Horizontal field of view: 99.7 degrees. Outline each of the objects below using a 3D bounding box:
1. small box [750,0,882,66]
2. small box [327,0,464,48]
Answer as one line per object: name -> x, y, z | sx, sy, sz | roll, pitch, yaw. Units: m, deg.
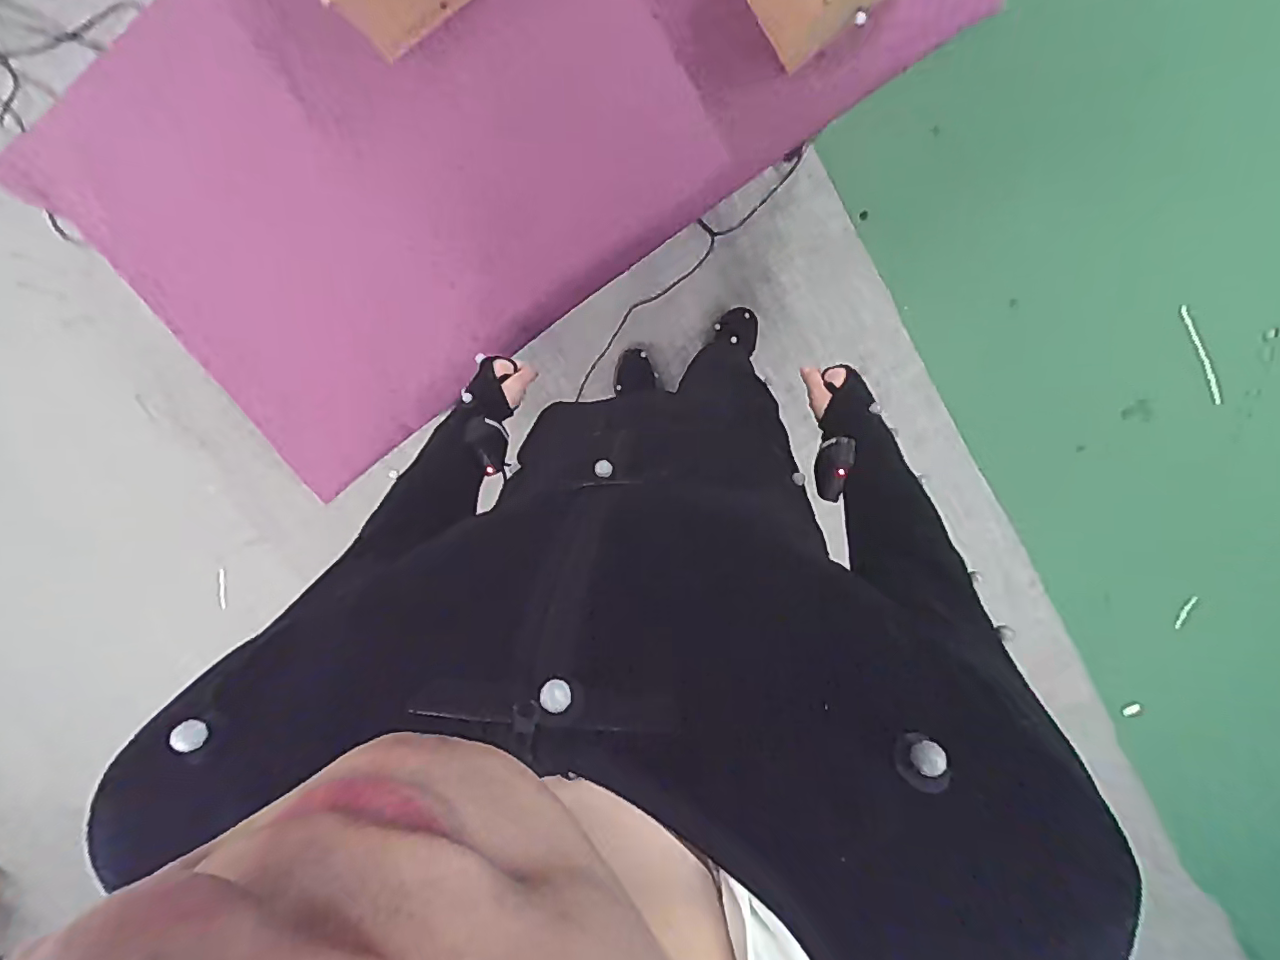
small box -> 0.212, -0.641, 0.623 | 0.168, 0.176, 0.179 | -33, 102, 11
small box -> -0.319, -0.658, 0.630 | 0.168, 0.176, 0.179 | -31, 103, 8
